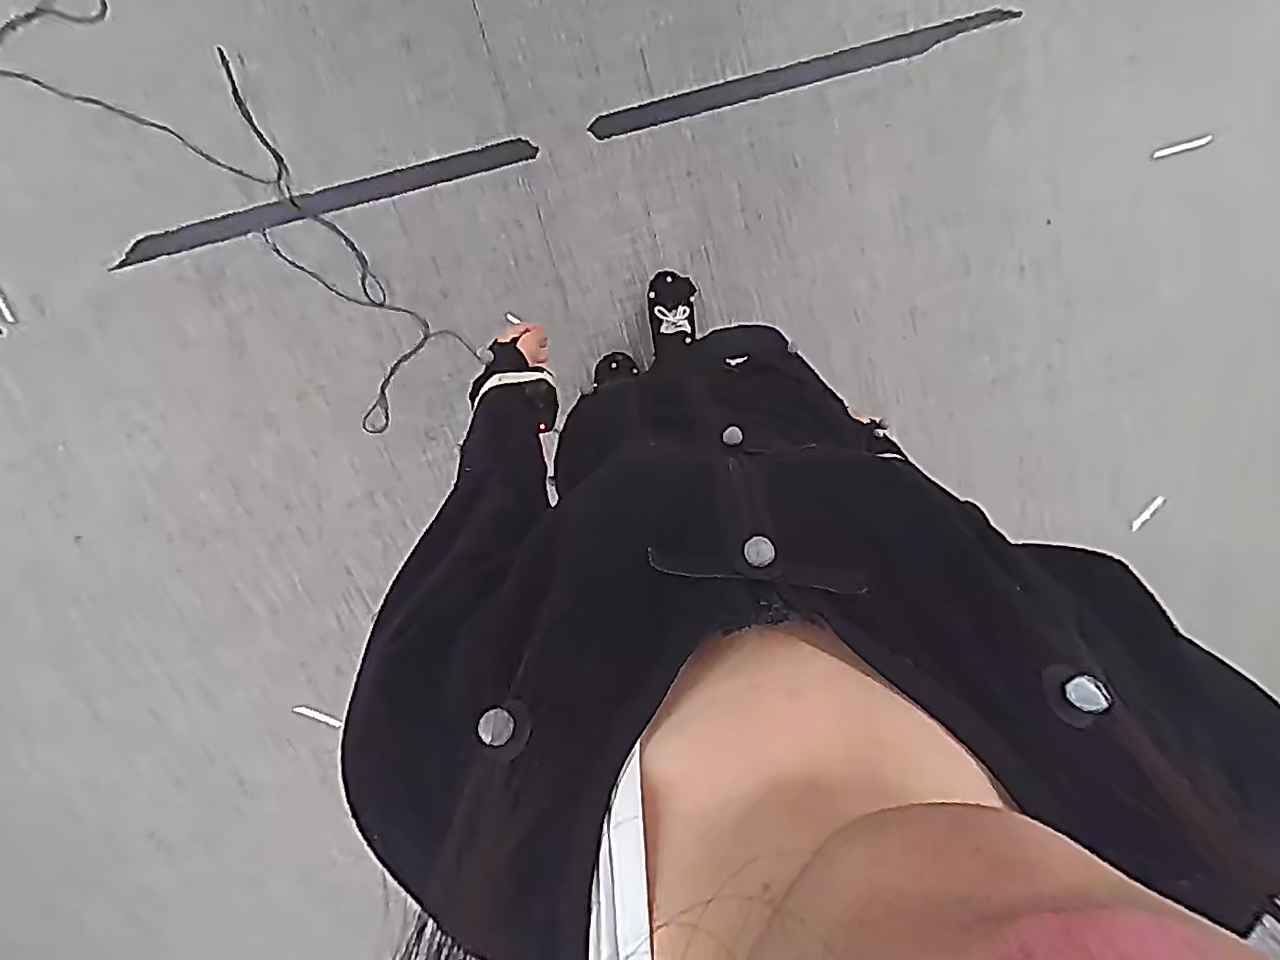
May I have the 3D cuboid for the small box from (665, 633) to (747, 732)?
[{"bbox_3d":[0.185,0.580,1.564,0.168,0.176,0.179,-25,106,1],"label":"small box"}]
